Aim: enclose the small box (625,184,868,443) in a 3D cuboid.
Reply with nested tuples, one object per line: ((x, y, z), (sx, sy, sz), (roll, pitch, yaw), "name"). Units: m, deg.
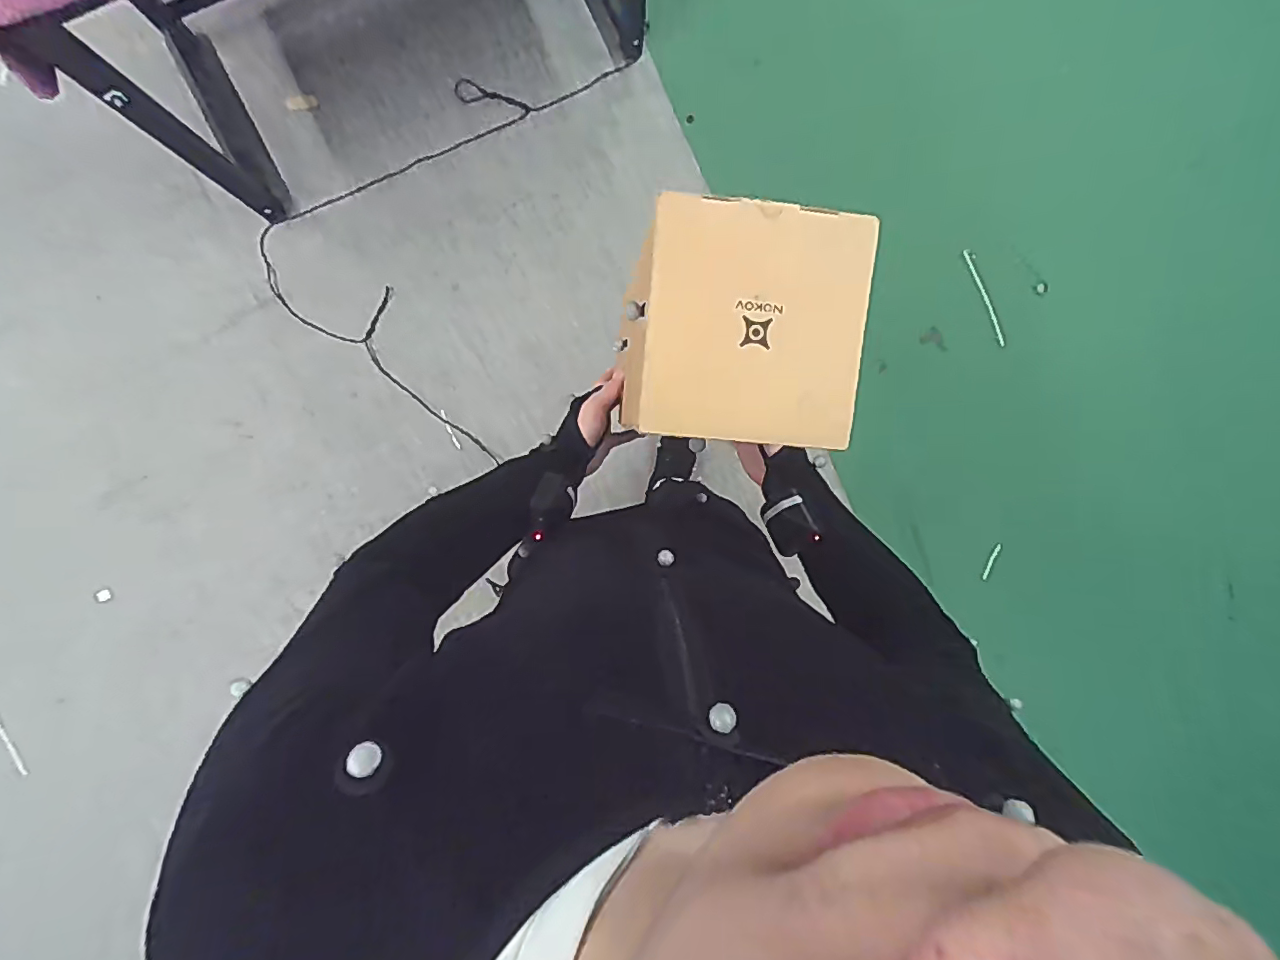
((0.075, -0.131, 0.481), (0.168, 0.176, 0.179), (4, 97, -4), "small box")
